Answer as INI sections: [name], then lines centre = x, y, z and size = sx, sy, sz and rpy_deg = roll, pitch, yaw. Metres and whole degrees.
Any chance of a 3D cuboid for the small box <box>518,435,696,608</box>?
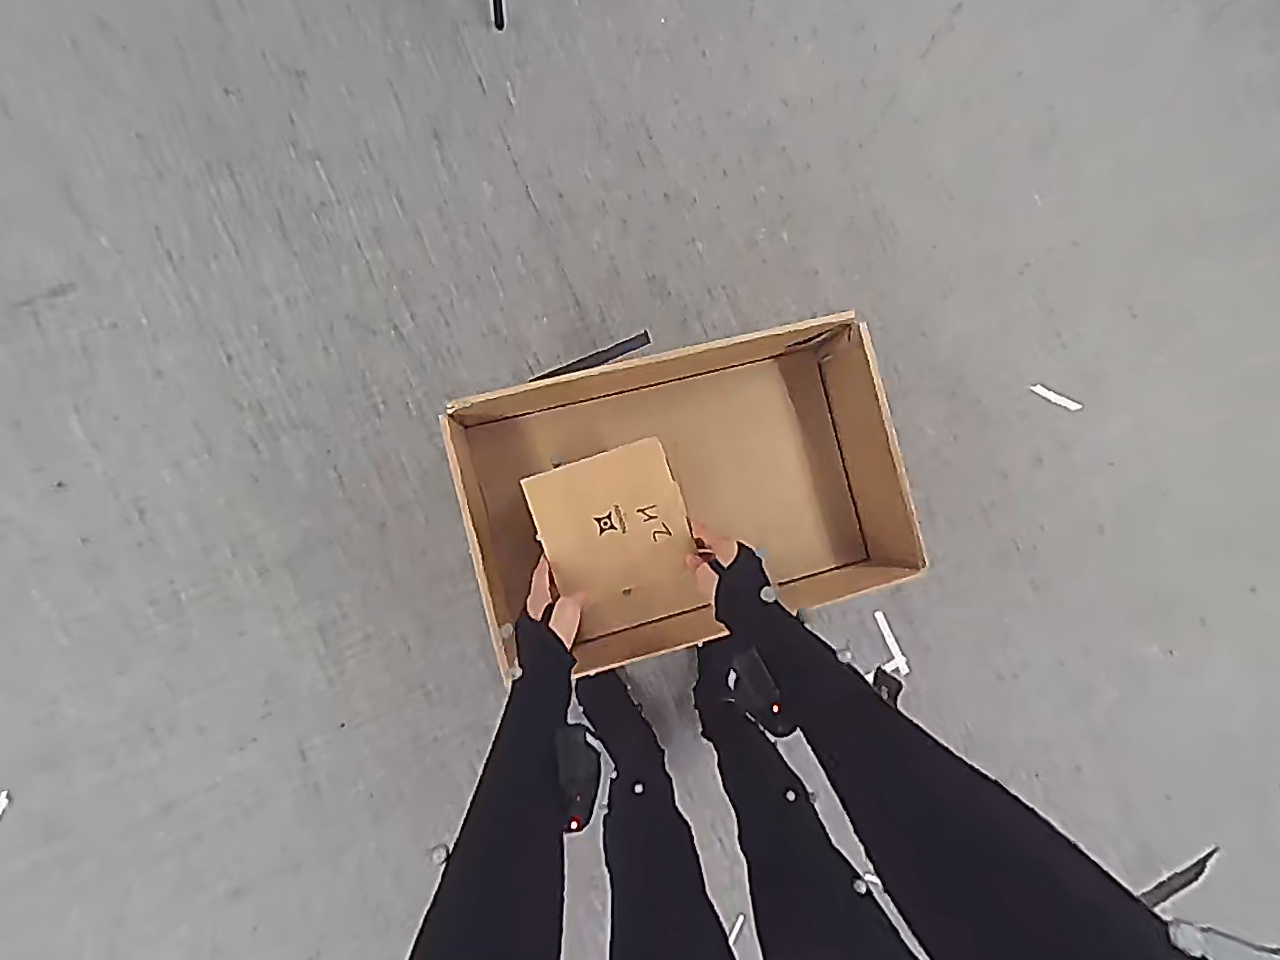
[small box]
centre = -0.043, 0.049, 0.719
size = 0.179, 0.176, 0.168
rpy_deg = -19, 92, -5
